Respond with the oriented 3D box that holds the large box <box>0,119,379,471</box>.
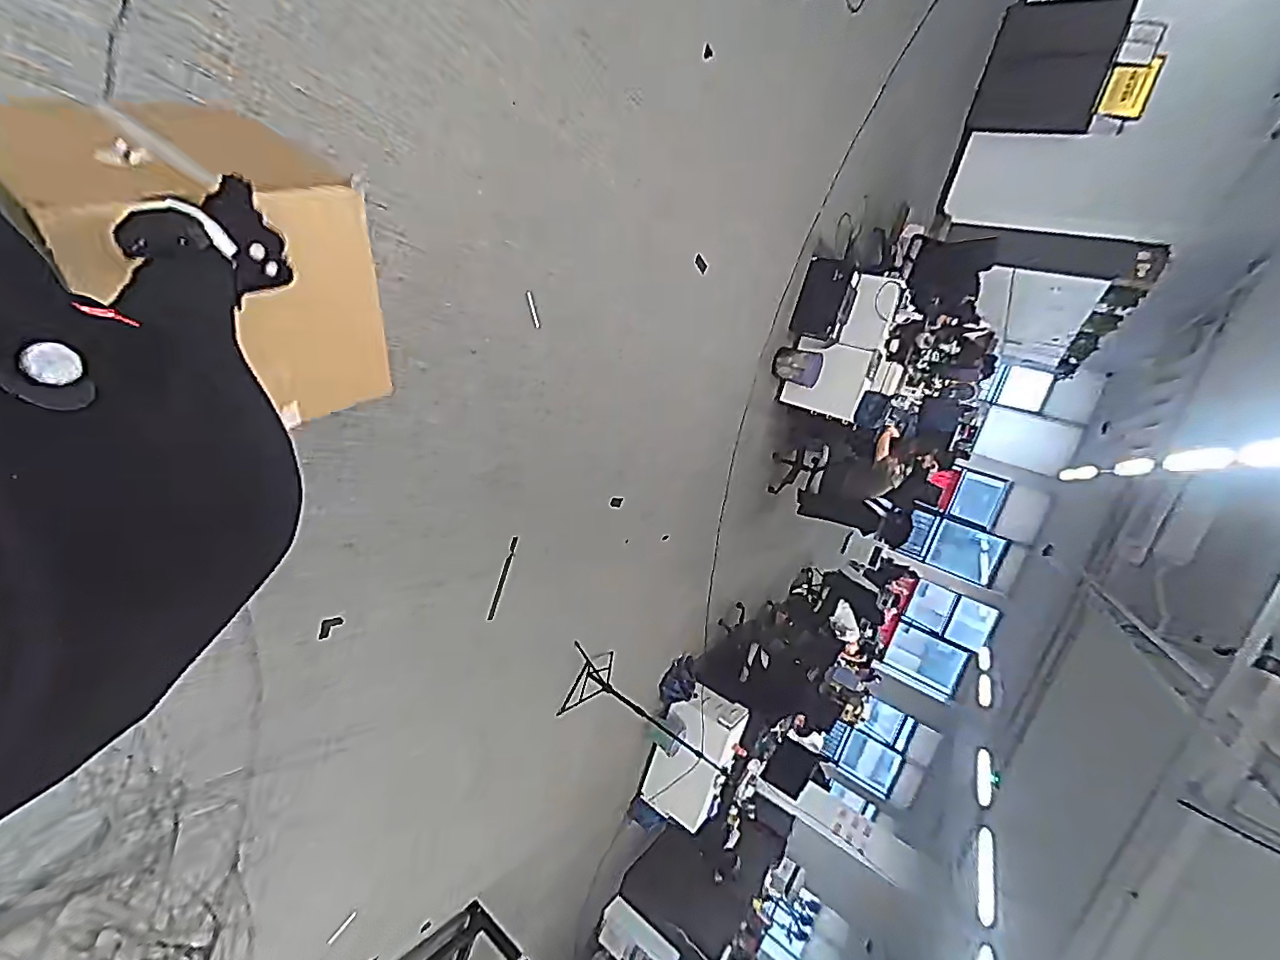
[{"bbox_3d":[-0.641,-0.280,0.768,0.320,0.408,0.320,-35,149,-41],"label":"large box"}]
